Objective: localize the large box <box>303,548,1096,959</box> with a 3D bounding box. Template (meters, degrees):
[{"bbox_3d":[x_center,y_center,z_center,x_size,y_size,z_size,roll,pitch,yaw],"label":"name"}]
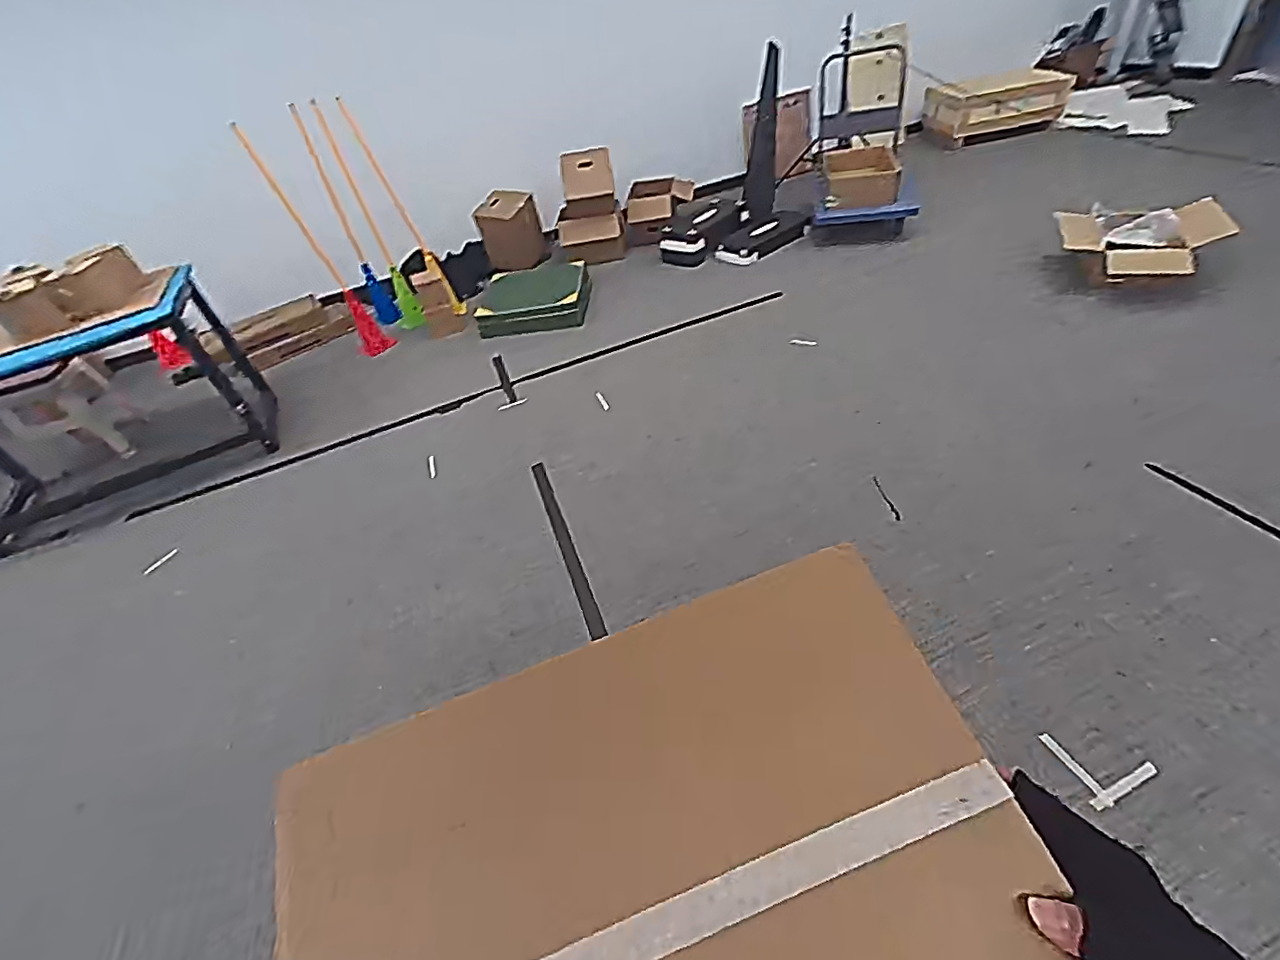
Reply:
[{"bbox_3d":[0.030,0.314,0.426,0.408,0.320,0.320,-22,61,-4],"label":"large box"}]
